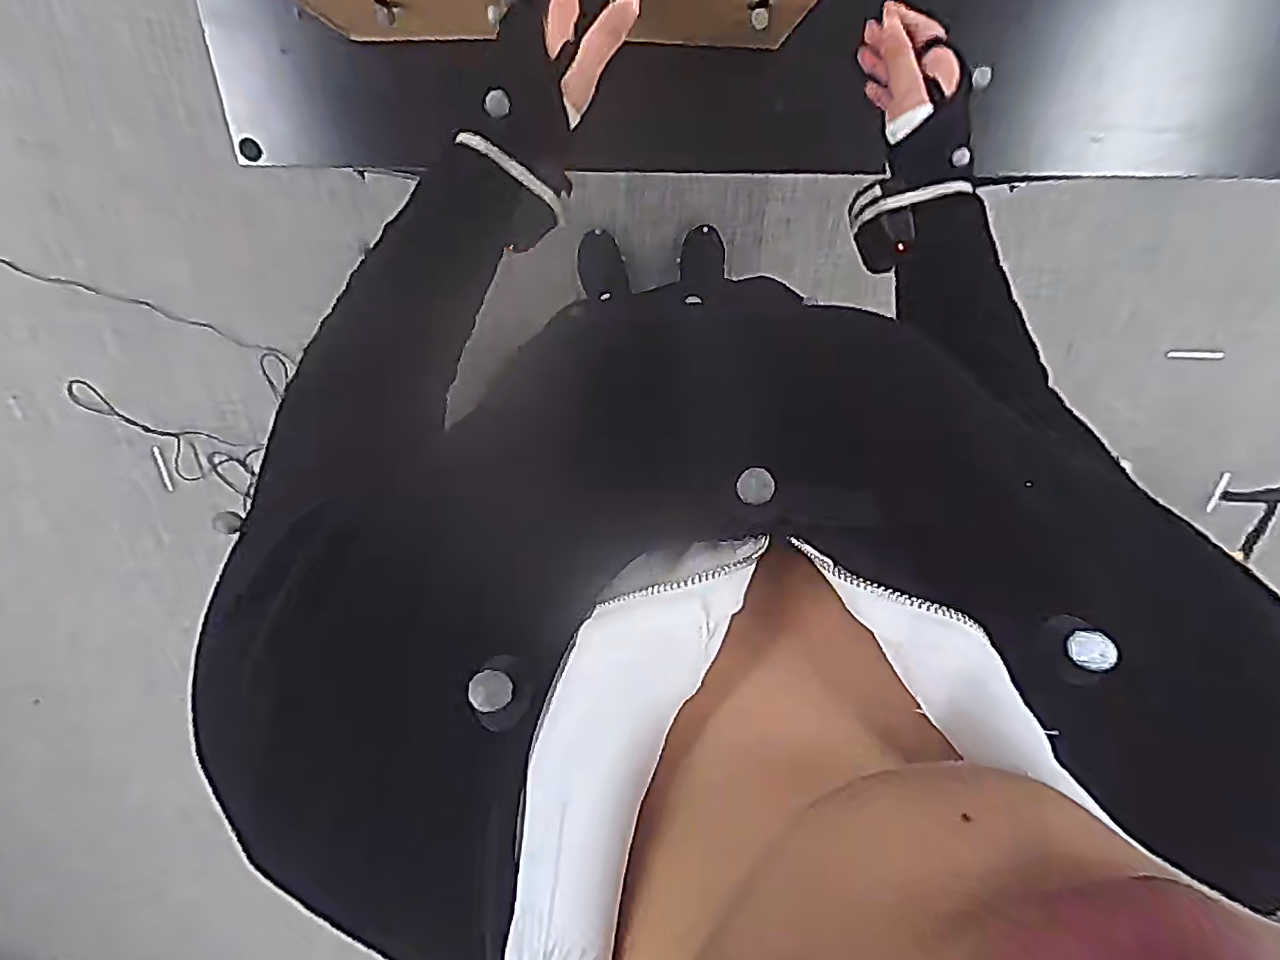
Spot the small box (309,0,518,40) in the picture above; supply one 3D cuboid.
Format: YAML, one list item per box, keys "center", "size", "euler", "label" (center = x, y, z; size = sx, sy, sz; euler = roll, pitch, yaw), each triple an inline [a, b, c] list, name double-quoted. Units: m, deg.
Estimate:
- center: [-0.213, -0.496, 0.453]
  size: [0.179, 0.176, 0.168]
  euler: [-2, 116, 0]
  label: "small box"

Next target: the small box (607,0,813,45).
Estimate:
- center: [0.061, -0.496, 0.458]
  size: [0.179, 0.176, 0.168]
  euler: [2, 115, -2]
  label: "small box"
